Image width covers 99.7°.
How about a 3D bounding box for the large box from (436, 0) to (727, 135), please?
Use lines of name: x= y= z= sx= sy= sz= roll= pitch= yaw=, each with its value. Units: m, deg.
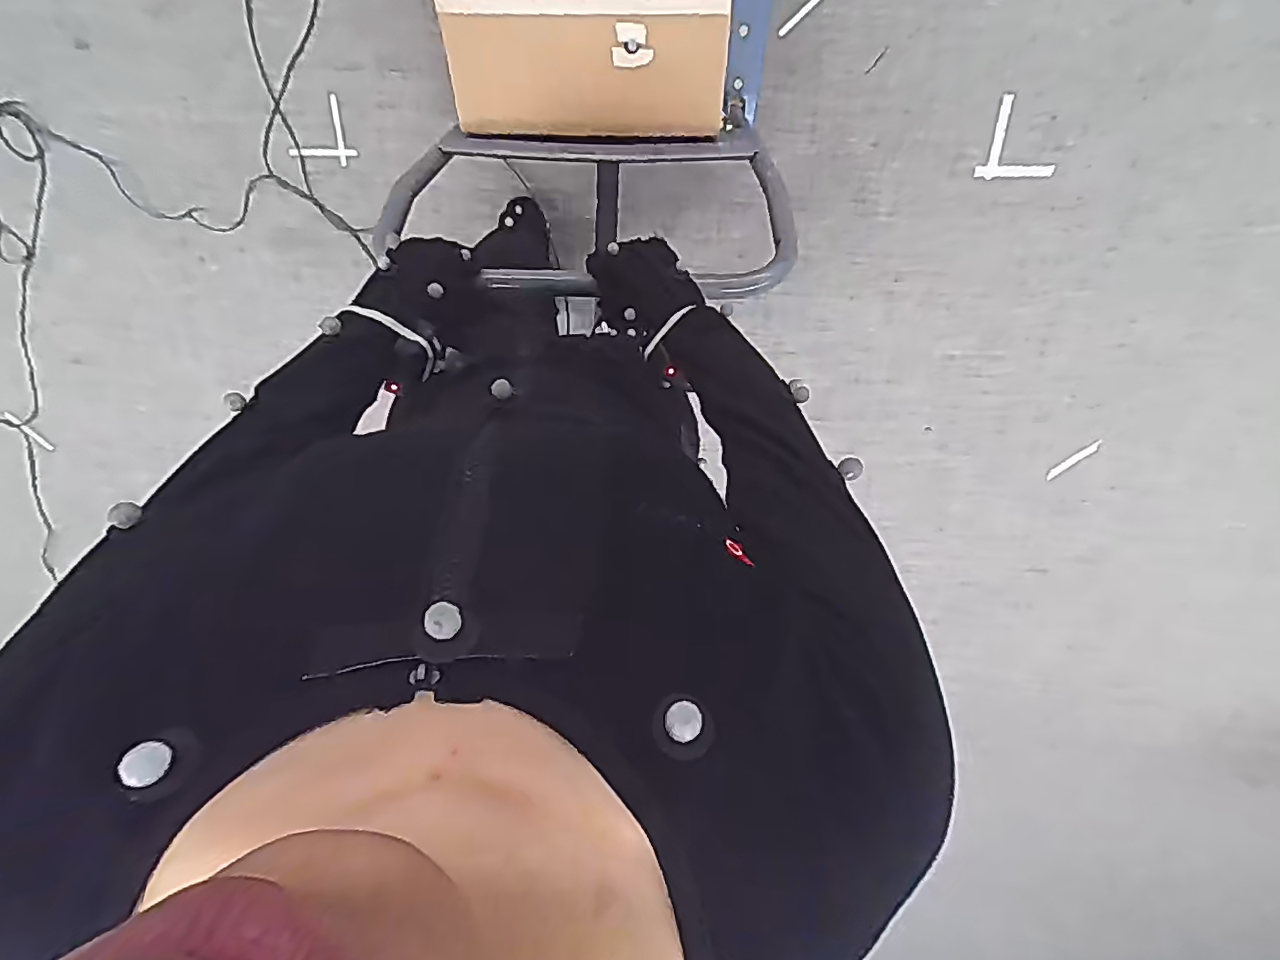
large box: x=-0.081 y=-0.749 z=0.842 sx=0.408 sy=0.320 sz=0.320 roll=0 pitch=133 yaw=0
